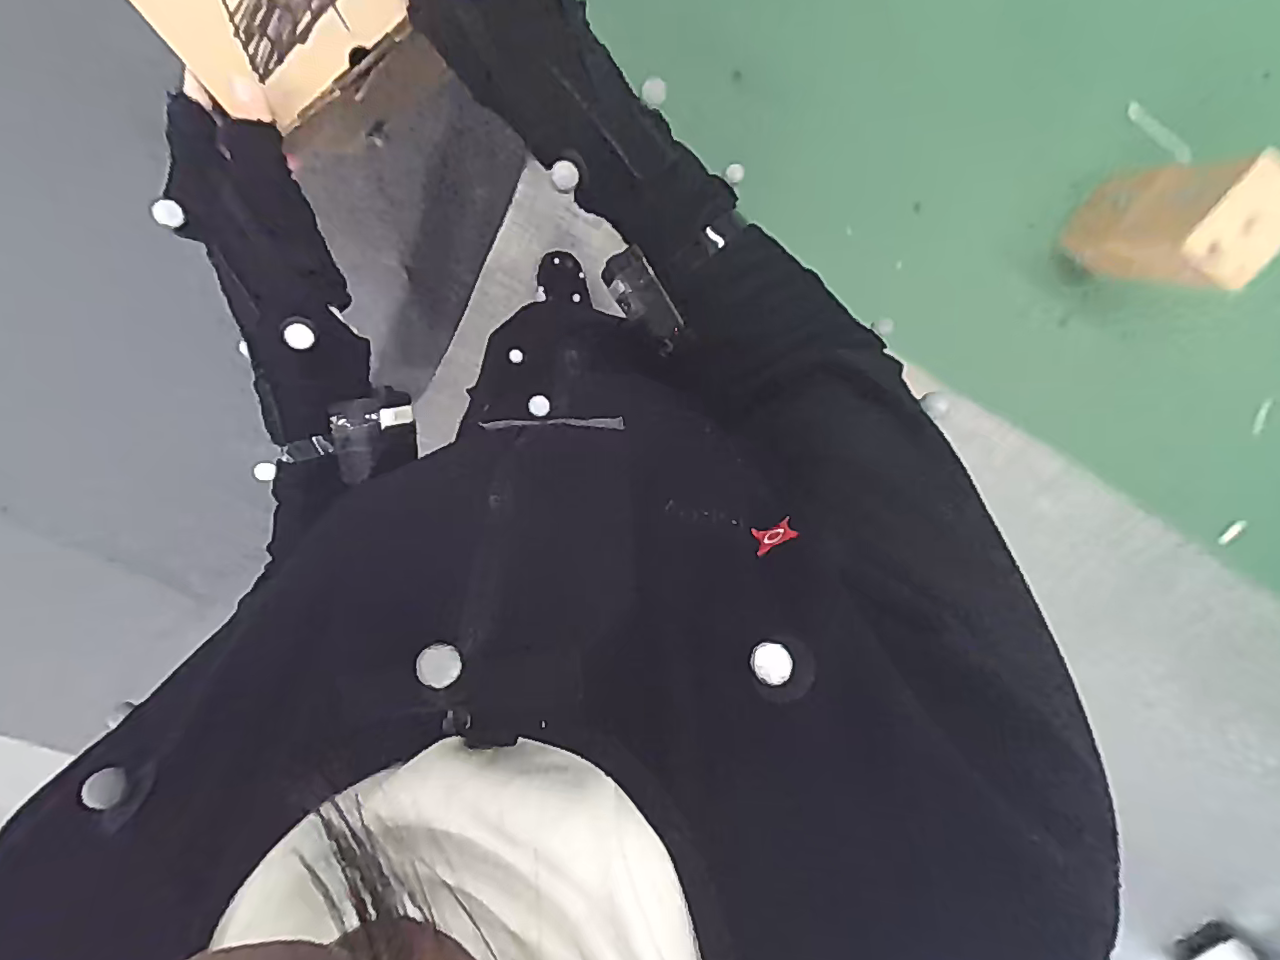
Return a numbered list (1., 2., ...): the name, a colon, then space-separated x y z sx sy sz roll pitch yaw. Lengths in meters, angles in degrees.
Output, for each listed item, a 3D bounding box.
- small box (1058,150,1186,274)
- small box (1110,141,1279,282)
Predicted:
1. small box: 1.076 -0.575 1.173 0.168 0.176 0.179 28 112 -13
2. small box: 1.085 -0.511 1.044 0.168 0.176 0.179 27 111 -14
